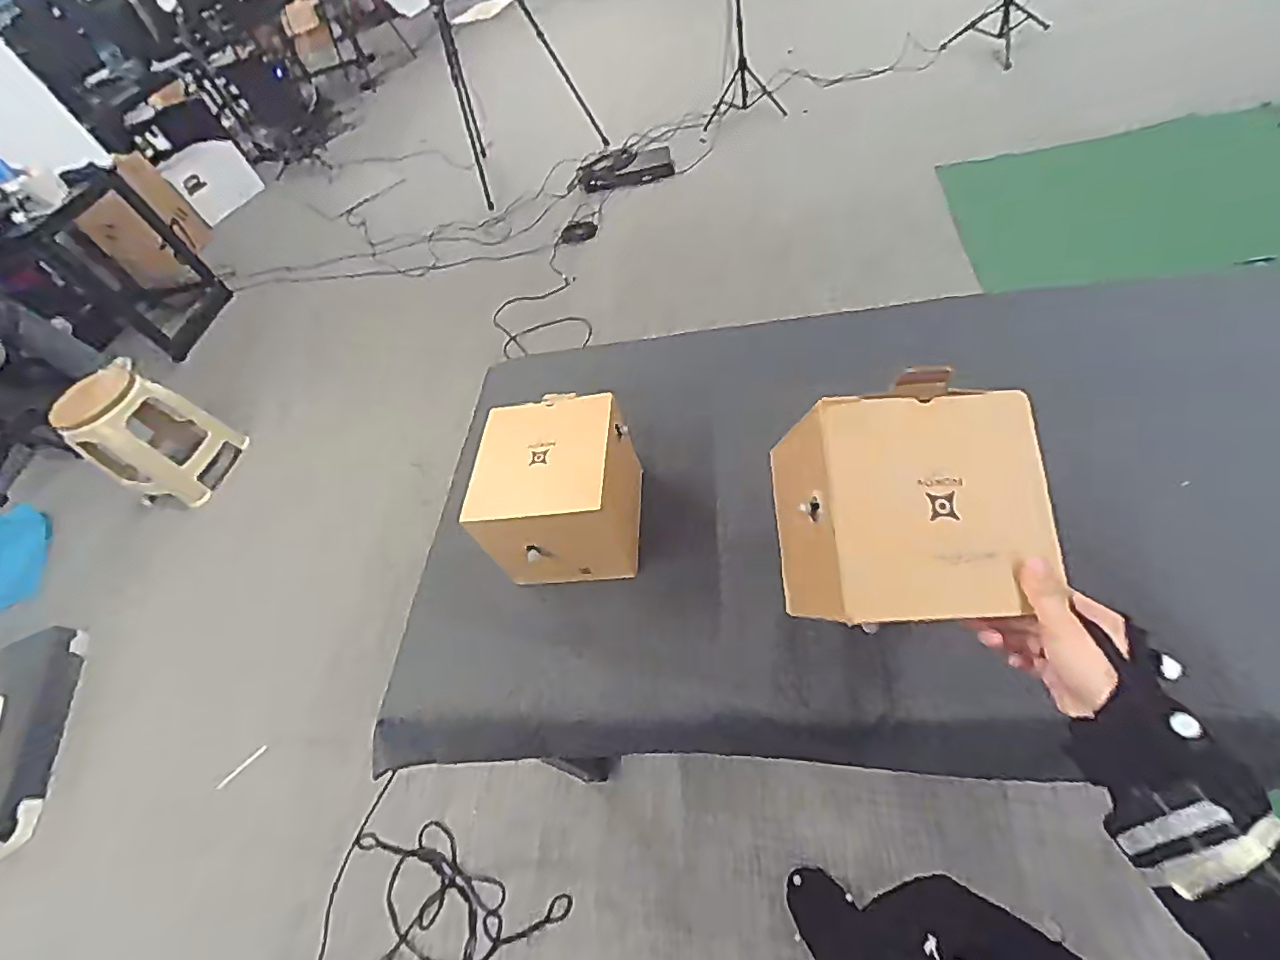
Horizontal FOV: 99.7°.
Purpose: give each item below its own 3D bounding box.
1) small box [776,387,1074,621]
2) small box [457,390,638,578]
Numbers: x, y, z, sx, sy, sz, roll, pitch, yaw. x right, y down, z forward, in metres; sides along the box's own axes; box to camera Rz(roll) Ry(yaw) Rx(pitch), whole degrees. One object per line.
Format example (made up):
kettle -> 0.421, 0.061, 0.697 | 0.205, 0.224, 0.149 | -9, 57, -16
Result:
small box -> 0.226, 0.031, 0.481 | 0.168, 0.176, 0.179 | -2, 78, -1
small box -> -0.101, 0.014, 0.686 | 0.168, 0.176, 0.179 | -6, 52, 11
